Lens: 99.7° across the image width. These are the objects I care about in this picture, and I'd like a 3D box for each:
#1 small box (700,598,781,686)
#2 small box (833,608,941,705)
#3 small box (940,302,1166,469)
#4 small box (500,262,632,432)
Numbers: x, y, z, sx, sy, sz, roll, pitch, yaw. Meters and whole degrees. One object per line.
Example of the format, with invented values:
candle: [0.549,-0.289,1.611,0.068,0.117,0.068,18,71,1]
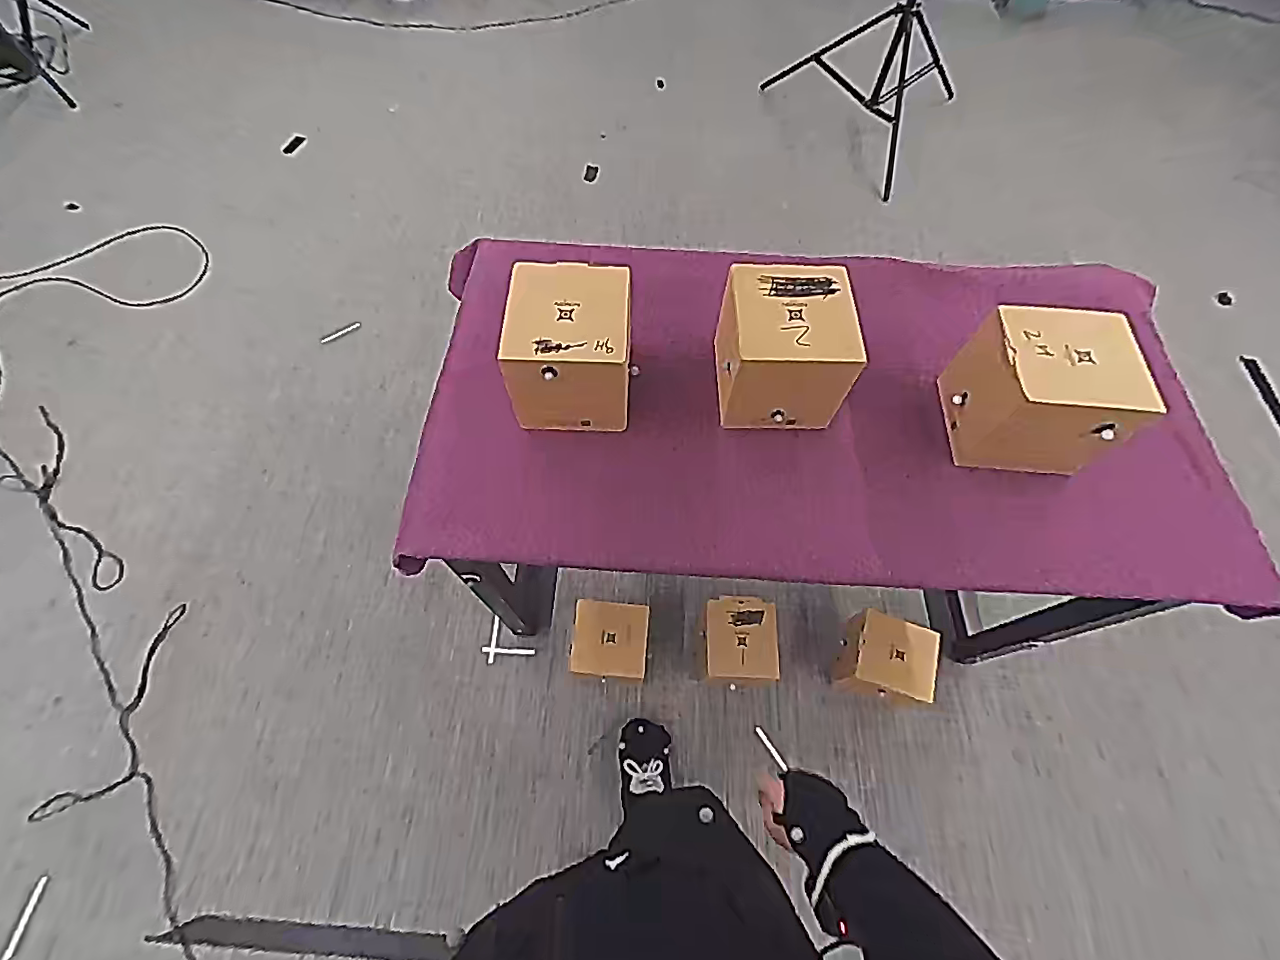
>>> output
small box: [0.236,0.398,1.318,0.168,0.176,0.179,2,64,1]
small box: [0.591,0.432,1.307,0.179,0.176,0.168,18,65,9]
small box: [0.567,-0.127,0.772,0.179,0.176,0.168,4,62,2]
small box: [-0.098,-0.192,0.796,0.168,0.176,0.179,1,63,0]
